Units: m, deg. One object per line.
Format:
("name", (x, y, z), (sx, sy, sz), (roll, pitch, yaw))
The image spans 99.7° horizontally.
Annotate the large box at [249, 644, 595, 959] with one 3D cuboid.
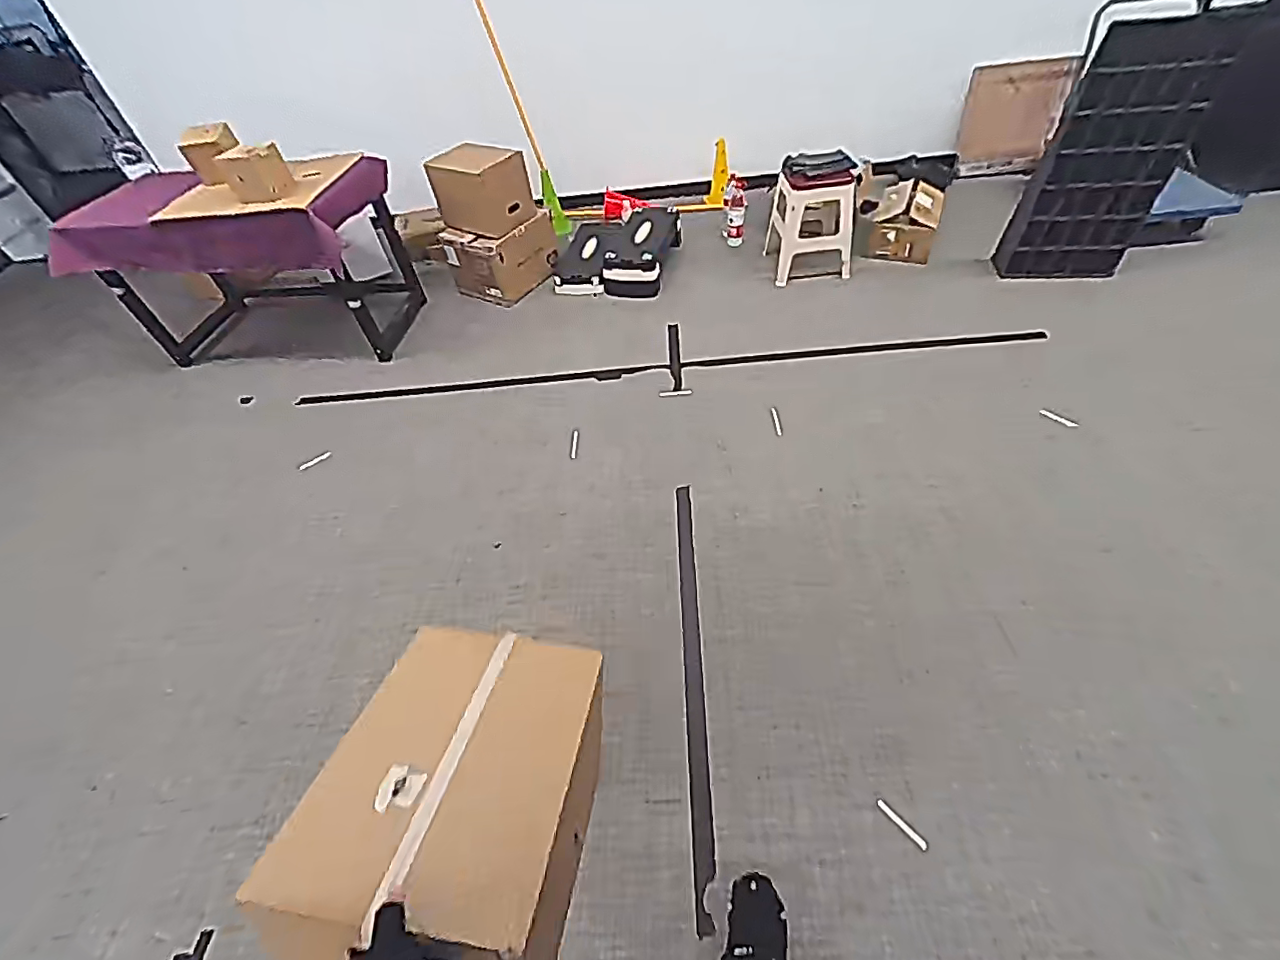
("large box", (-0.255, 0.516, 0.804), (0.320, 0.320, 0.408), (5, 28, 6))
